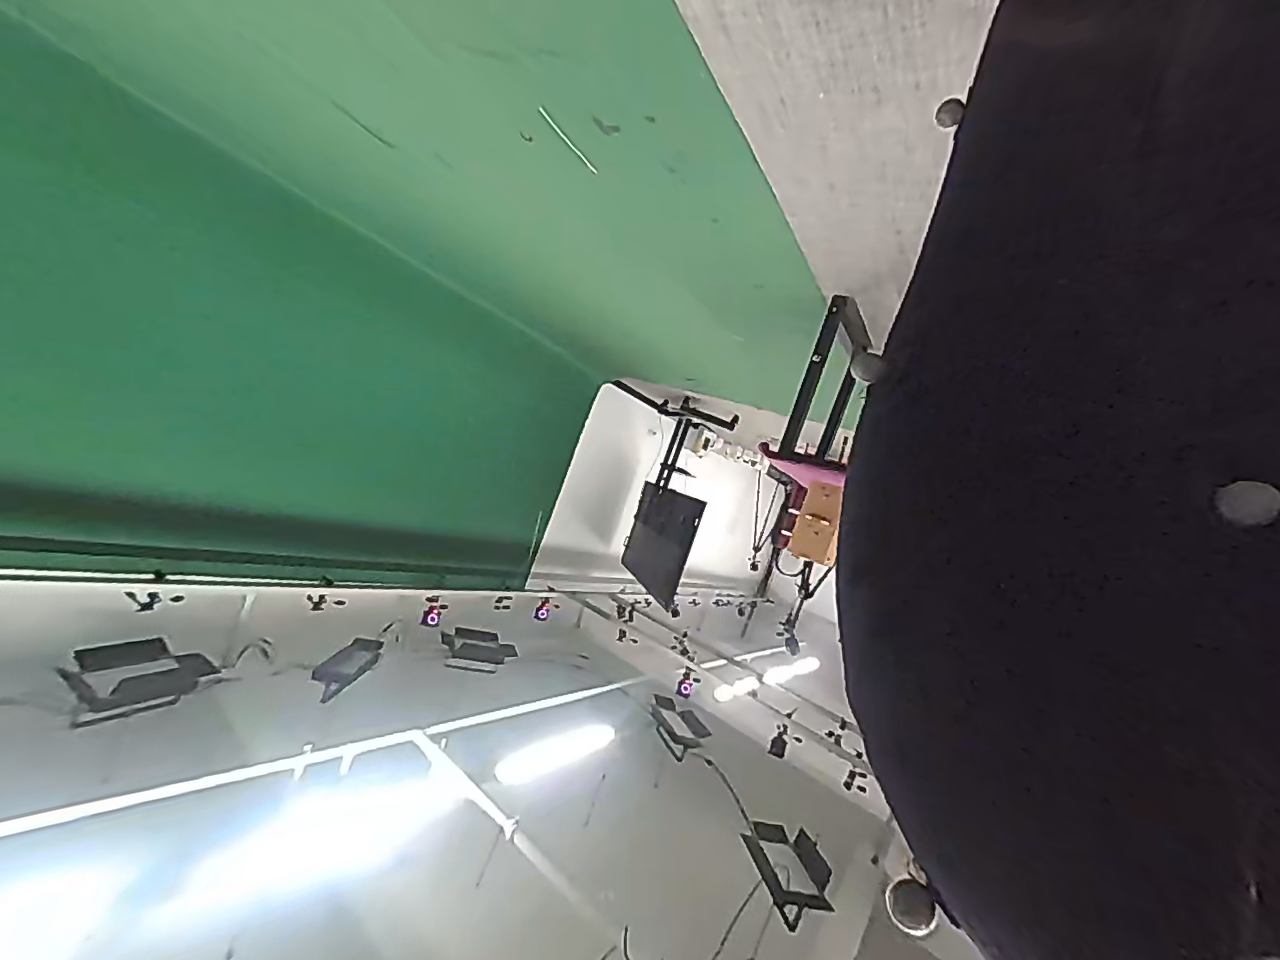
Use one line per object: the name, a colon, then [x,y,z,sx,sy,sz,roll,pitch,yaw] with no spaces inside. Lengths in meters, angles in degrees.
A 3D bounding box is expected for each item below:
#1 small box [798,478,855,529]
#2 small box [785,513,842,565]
small box: [0.812,0.101,2.340,0.168,0.176,0.179,19,180,34]
small box: [0.757,0.255,2.347,0.168,0.176,0.179,20,180,34]
